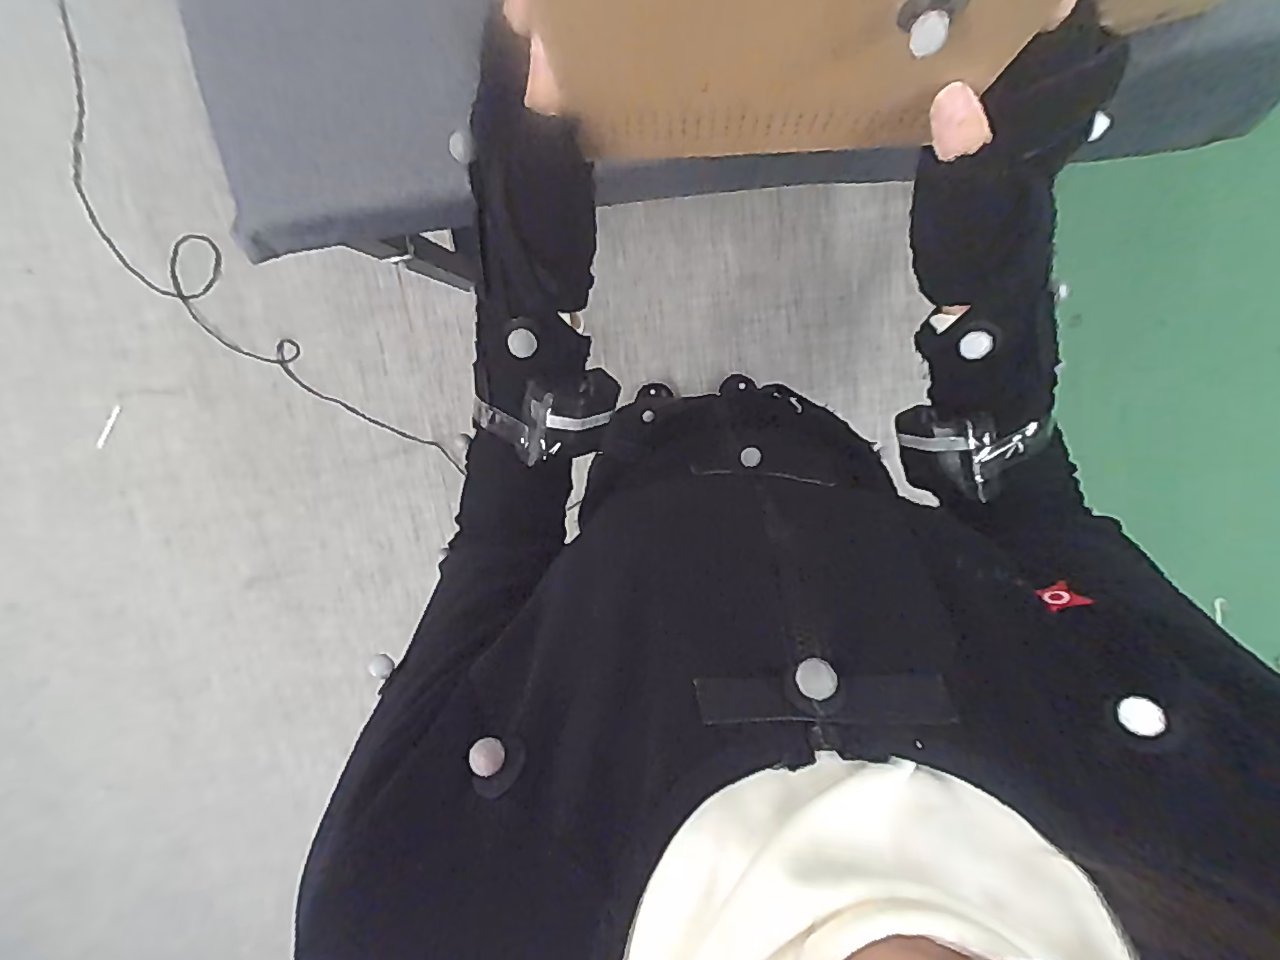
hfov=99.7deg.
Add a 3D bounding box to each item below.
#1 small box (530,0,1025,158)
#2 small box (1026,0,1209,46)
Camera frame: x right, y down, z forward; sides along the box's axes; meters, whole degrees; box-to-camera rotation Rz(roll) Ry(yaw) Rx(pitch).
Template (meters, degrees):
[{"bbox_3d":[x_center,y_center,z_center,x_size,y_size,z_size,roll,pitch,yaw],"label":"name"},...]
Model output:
[{"bbox_3d":[0.048,-0.240,0.186,0.179,0.176,0.168,-1,93,4],"label":"small box"},{"bbox_3d":[0.481,-0.539,0.488,0.168,0.176,0.179,-12,99,5],"label":"small box"}]
